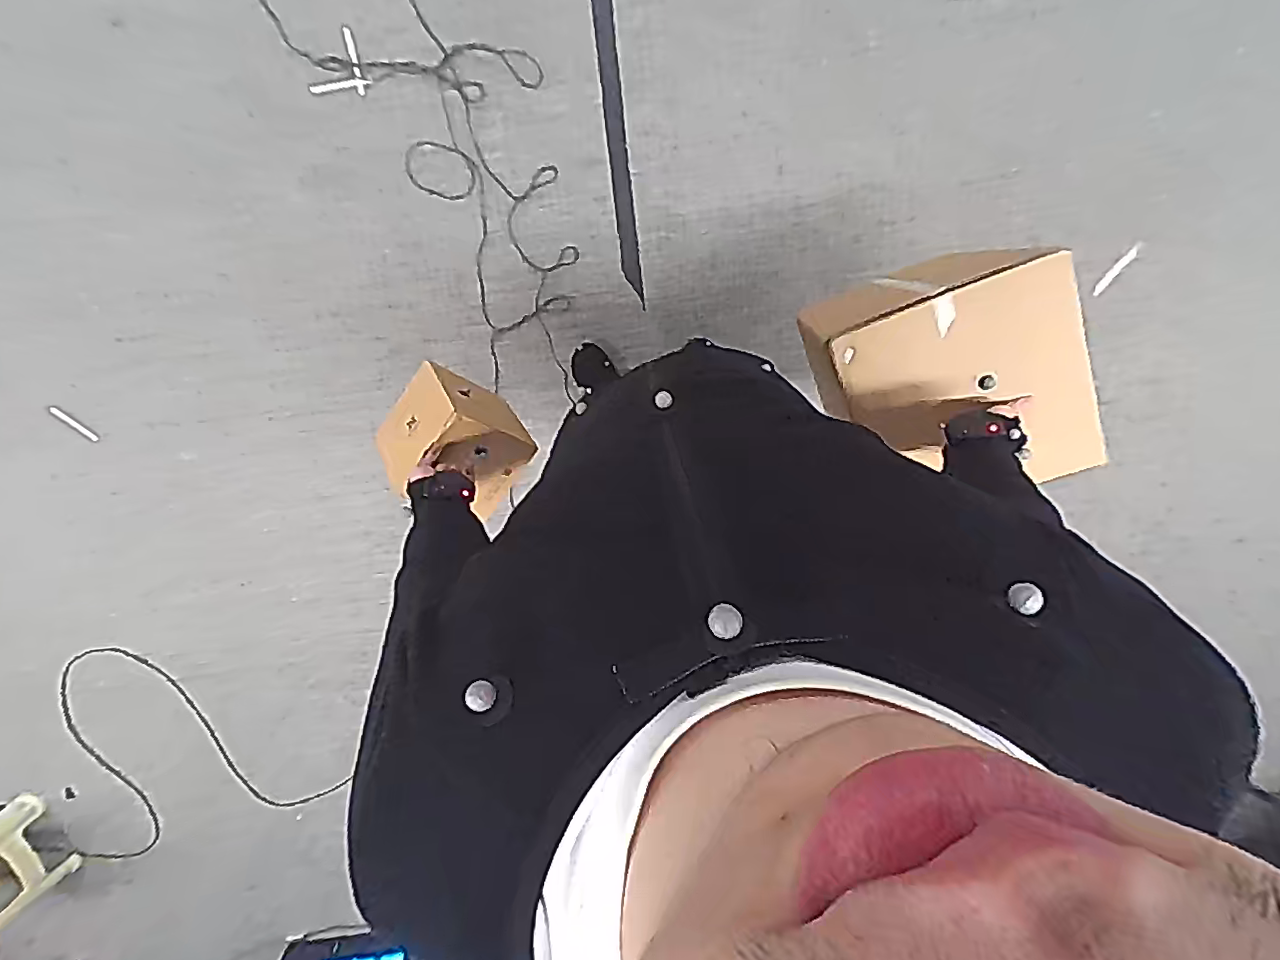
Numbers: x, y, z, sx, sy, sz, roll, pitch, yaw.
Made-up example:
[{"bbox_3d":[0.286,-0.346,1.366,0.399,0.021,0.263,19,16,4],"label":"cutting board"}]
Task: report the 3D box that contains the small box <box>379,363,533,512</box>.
[{"bbox_3d":[-0.312,-0.063,0.926,0.168,0.179,0.176,-51,138,11],"label":"small box"}]
